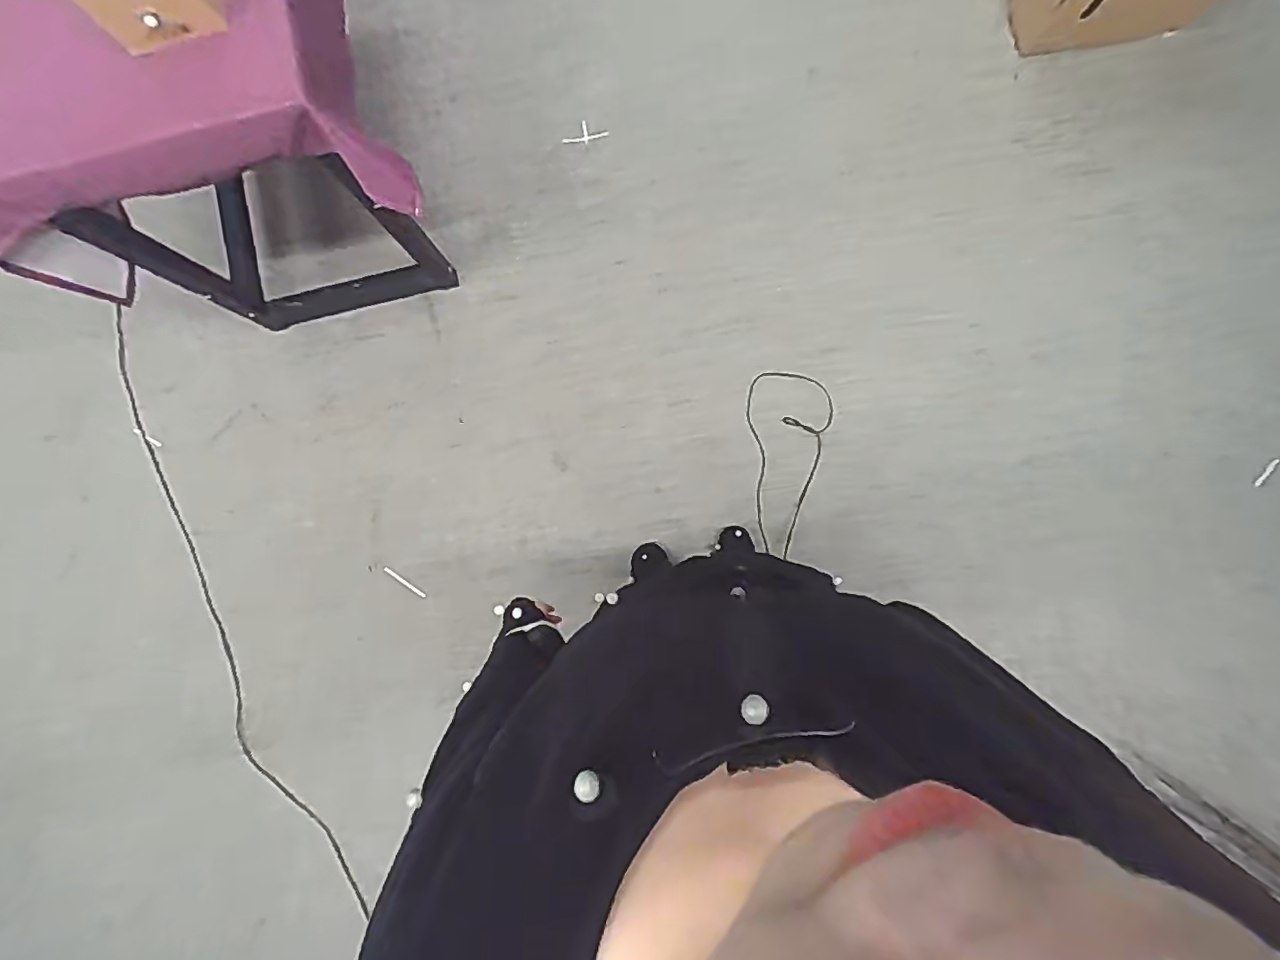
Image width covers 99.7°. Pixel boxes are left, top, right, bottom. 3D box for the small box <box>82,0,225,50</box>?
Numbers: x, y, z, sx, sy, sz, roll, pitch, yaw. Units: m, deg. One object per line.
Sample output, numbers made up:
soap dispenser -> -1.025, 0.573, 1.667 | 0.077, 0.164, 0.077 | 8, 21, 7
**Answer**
small box -> -0.760, -0.794, 0.792 | 0.168, 0.176, 0.179 | -15, 87, 1
